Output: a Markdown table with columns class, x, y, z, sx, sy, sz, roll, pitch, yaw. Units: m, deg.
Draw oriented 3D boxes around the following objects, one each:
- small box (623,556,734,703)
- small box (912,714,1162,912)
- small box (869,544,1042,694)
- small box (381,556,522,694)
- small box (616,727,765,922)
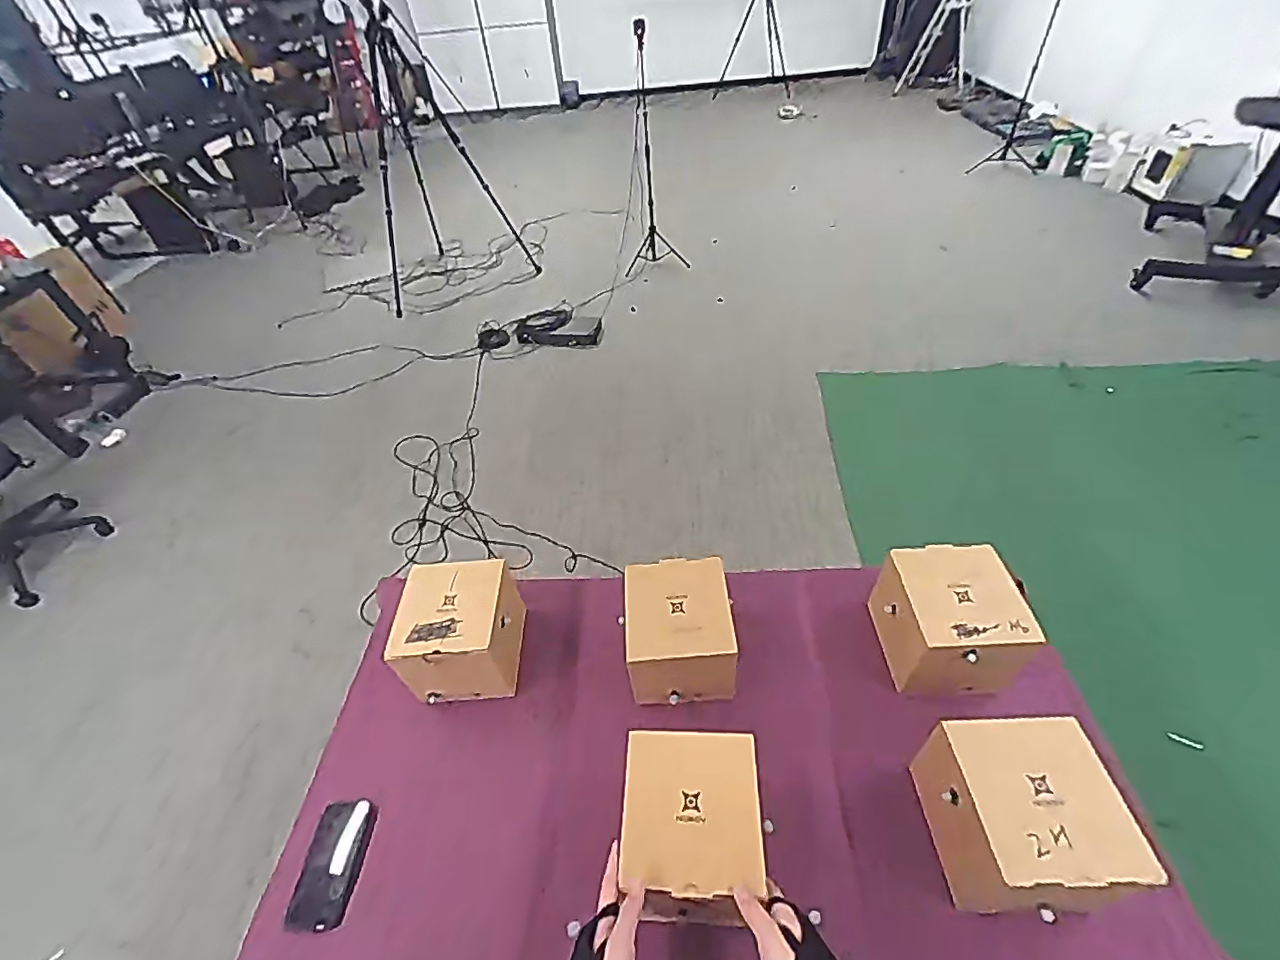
| class | x | y | z | sx | sy | sz | roll | pitch | yaw |
| --- | --- | --- | --- | --- | --- | --- | --- | --- | --- |
| small box | 0.060 | 0.249 | 0.900 | 0.168 | 0.176 | 0.179 | -5 | 45 | 3 |
| small box | 0.468 | 0.417 | 0.679 | 0.168 | 0.176 | 0.179 | -3 | 44 | 4 |
| small box | 0.489 | 0.225 | 0.874 | 0.168 | 0.176 | 0.179 | -4 | 44 | 4 |
| small box | -0.309 | 0.255 | 0.932 | 0.168 | 0.176 | 0.179 | -4 | 44 | 1 |
| small box | 0.064 | 0.445 | 0.701 | 0.168 | 0.176 | 0.179 | -1 | 44 | 5 |
